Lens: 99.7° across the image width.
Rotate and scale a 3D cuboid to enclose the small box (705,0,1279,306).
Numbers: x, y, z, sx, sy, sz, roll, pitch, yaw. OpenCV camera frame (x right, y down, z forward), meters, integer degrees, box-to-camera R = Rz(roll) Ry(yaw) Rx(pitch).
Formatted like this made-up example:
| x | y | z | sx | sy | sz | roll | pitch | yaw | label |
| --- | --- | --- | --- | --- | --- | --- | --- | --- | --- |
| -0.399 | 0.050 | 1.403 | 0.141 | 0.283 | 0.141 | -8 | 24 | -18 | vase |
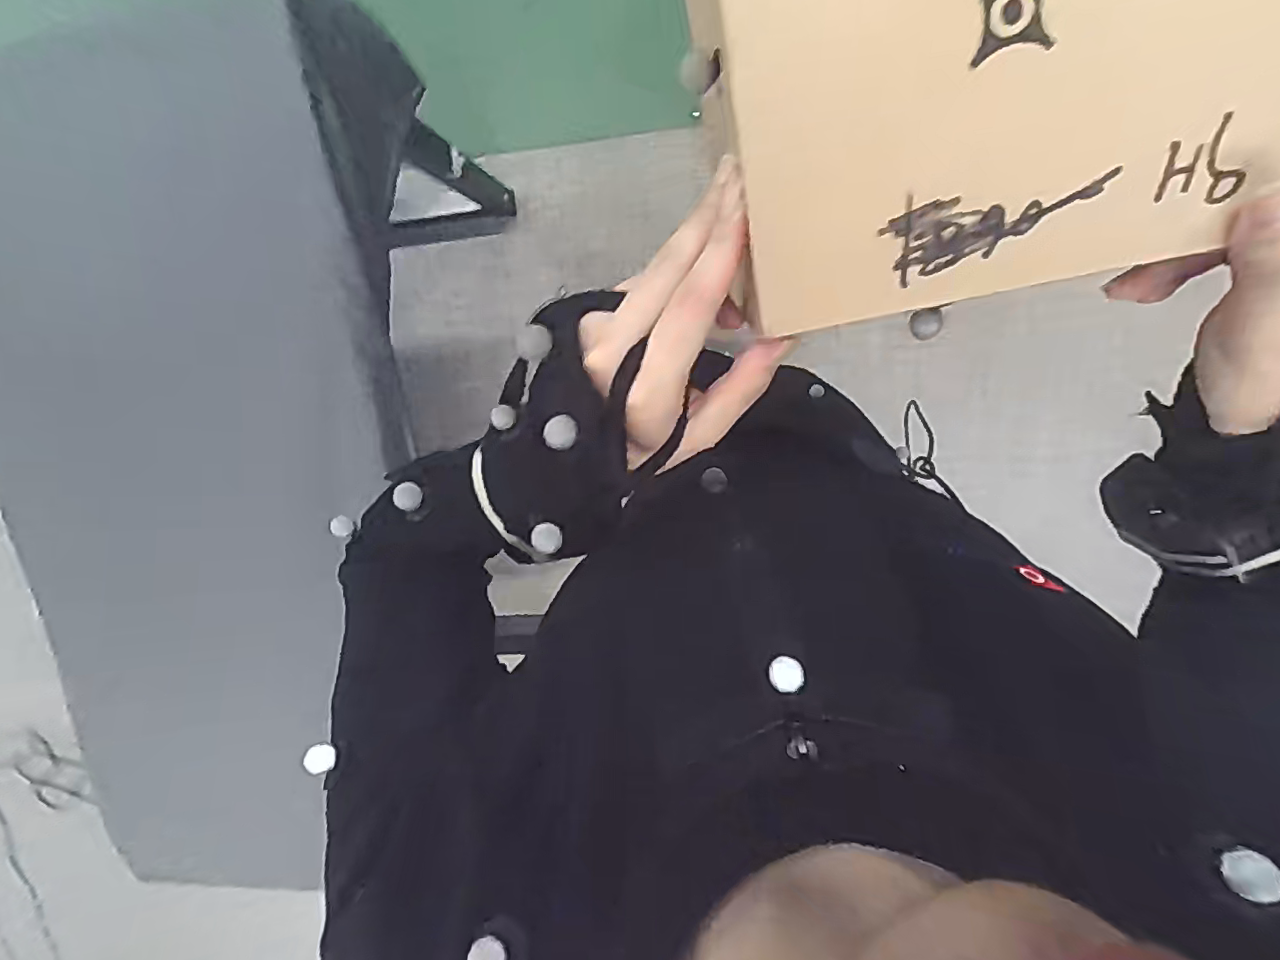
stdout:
| x | y | z | sx | sy | sz | roll | pitch | yaw | label |
| --- | --- | --- | --- | --- | --- | --- | --- | --- | --- |
| 0.120 | -0.179 | 0.227 | 0.168 | 0.176 | 0.179 | -8 | 110 | 8 | small box |
